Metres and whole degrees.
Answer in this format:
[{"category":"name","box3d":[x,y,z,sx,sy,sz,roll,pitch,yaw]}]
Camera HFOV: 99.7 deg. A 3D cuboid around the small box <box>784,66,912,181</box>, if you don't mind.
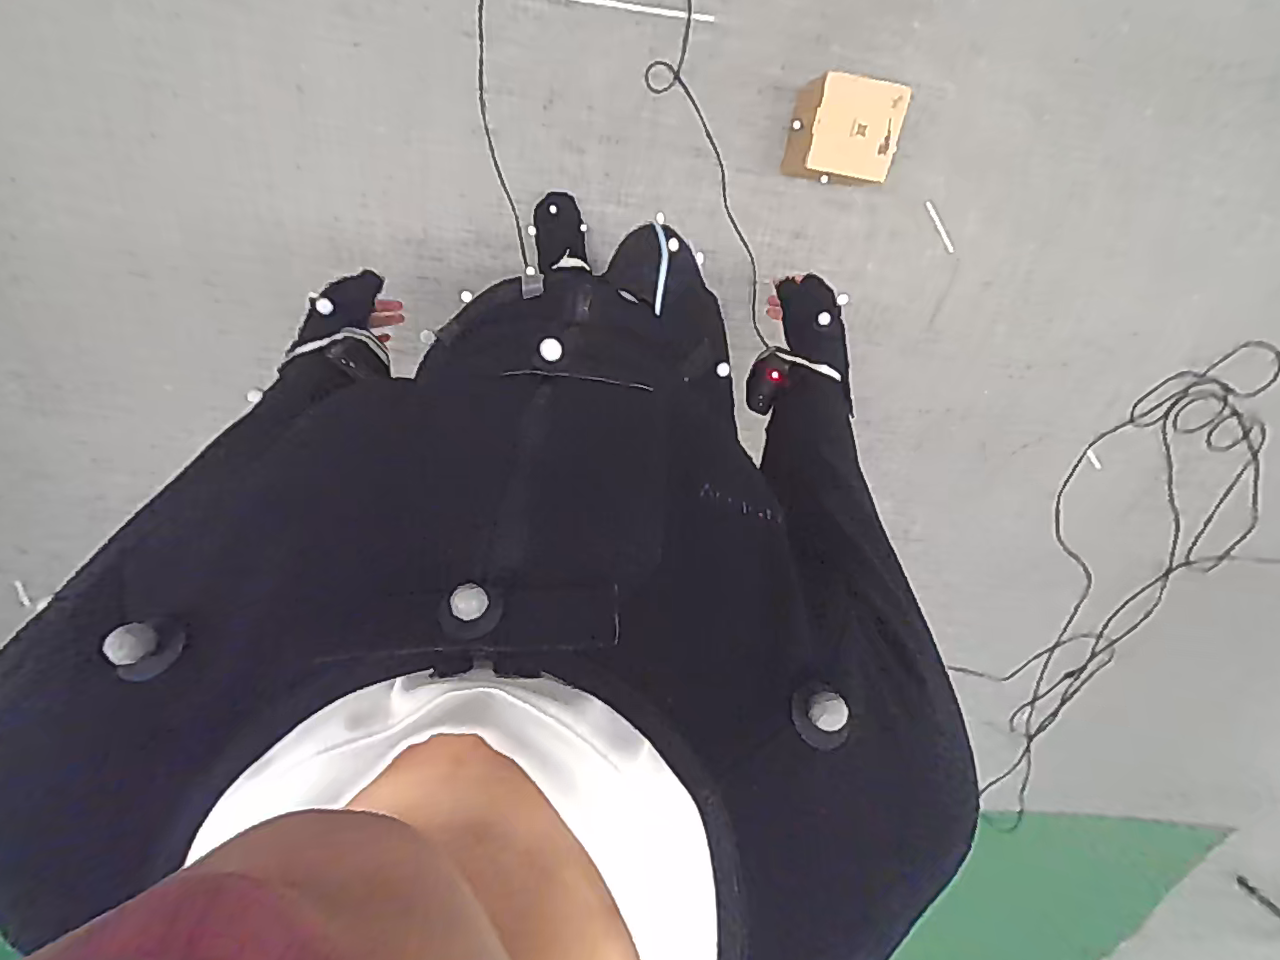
[{"category":"small box","box3d":[0.421,-0.734,1.132,0.179,0.176,0.168,7,117,-6]}]
